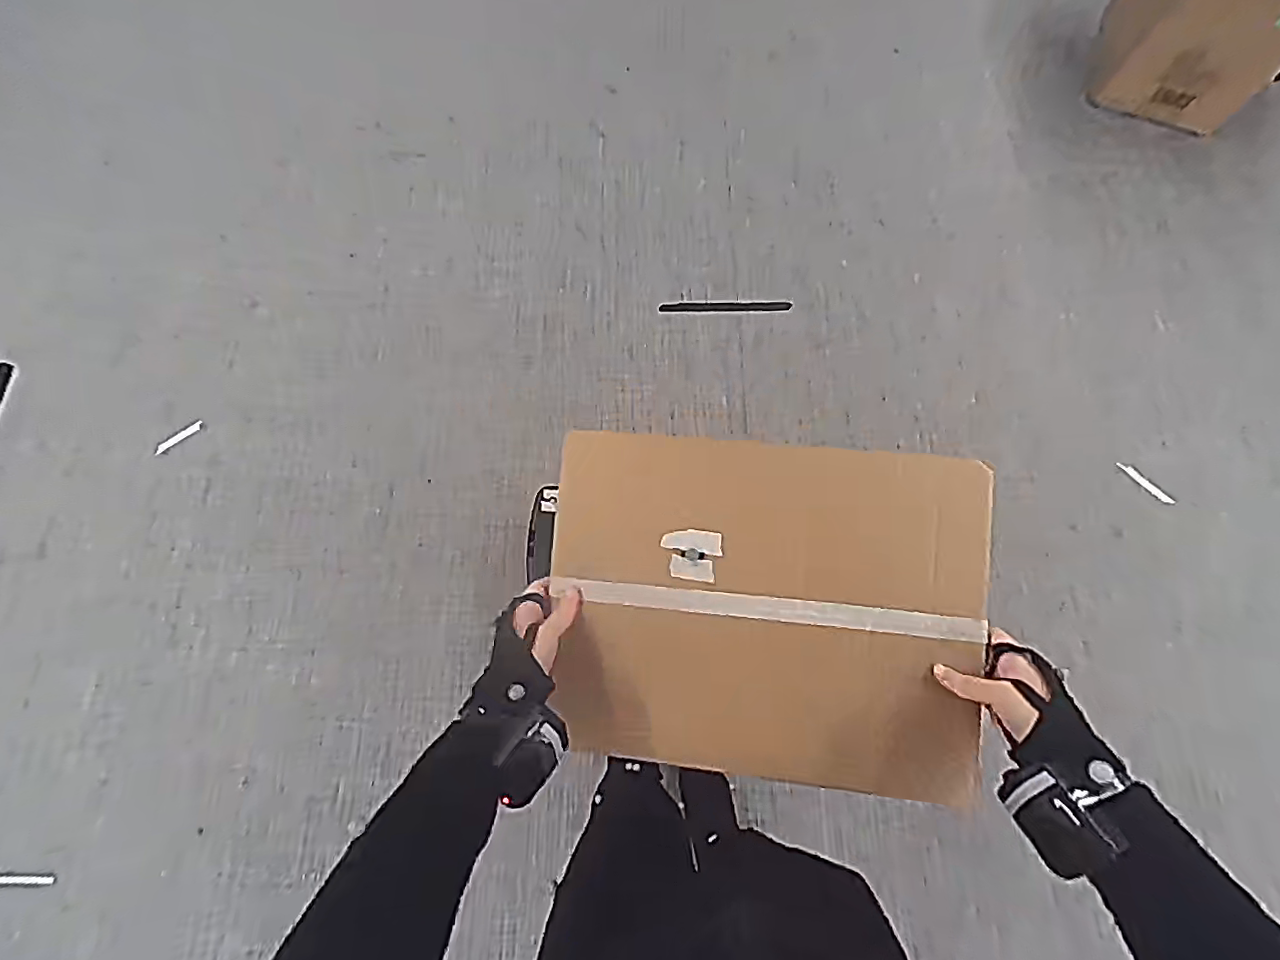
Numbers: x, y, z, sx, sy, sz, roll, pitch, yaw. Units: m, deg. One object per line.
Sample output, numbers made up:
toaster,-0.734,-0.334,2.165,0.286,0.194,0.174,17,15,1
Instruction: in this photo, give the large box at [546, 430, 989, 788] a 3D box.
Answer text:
large box,0.134,0.120,0.659,0.408,0.320,0.320,4,87,8

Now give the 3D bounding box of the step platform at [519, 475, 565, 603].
step platform,0.067,0.169,1.277,0.684,0.204,0.286,6,74,2
